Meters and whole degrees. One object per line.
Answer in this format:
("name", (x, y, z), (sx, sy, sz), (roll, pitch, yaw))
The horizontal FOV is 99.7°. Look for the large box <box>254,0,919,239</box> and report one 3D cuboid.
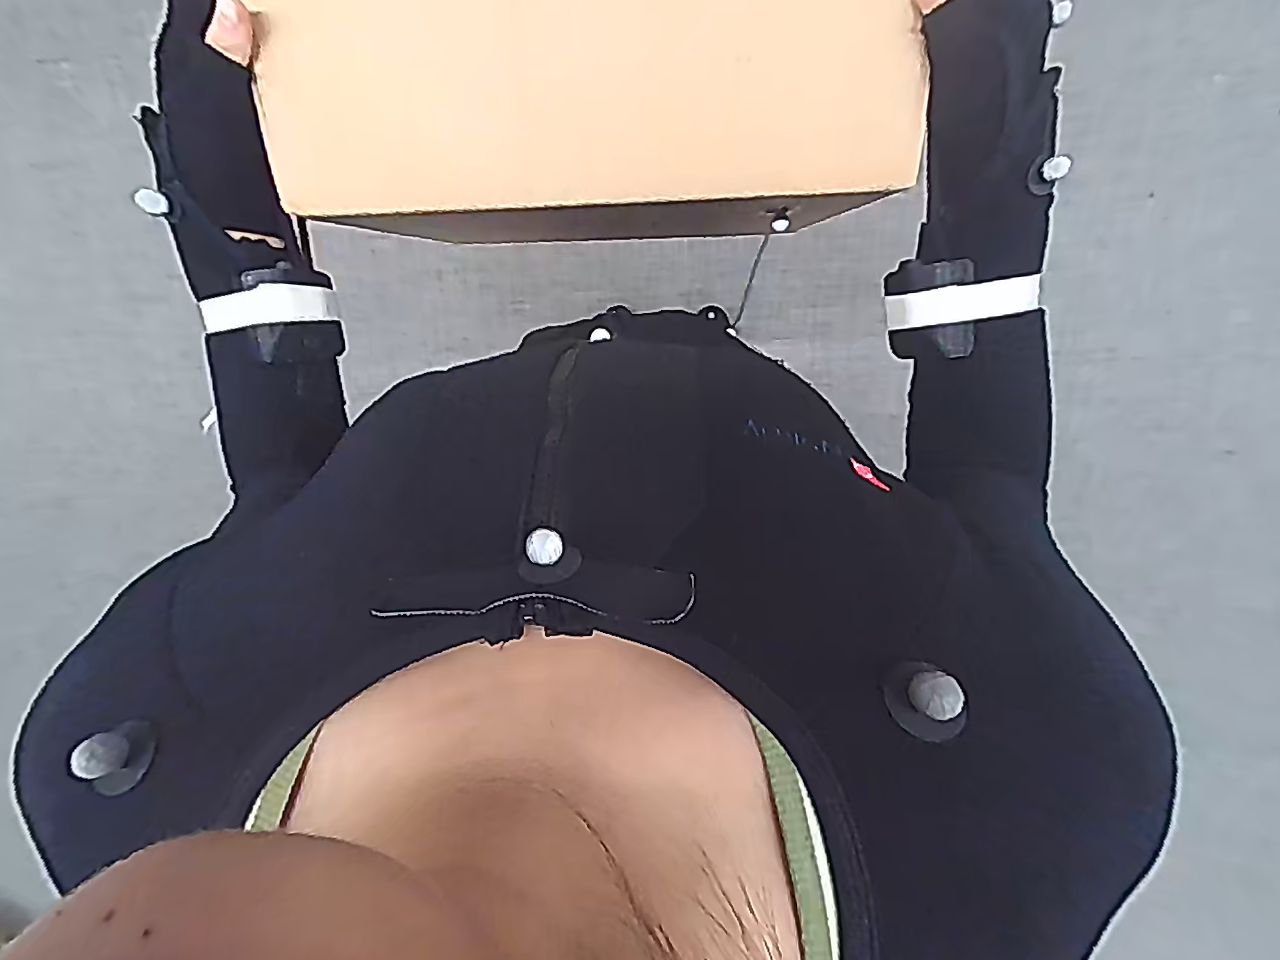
("large box", (-0.029, -0.381, 0.444), (0.408, 0.320, 0.320), (-1, 110, 3))
